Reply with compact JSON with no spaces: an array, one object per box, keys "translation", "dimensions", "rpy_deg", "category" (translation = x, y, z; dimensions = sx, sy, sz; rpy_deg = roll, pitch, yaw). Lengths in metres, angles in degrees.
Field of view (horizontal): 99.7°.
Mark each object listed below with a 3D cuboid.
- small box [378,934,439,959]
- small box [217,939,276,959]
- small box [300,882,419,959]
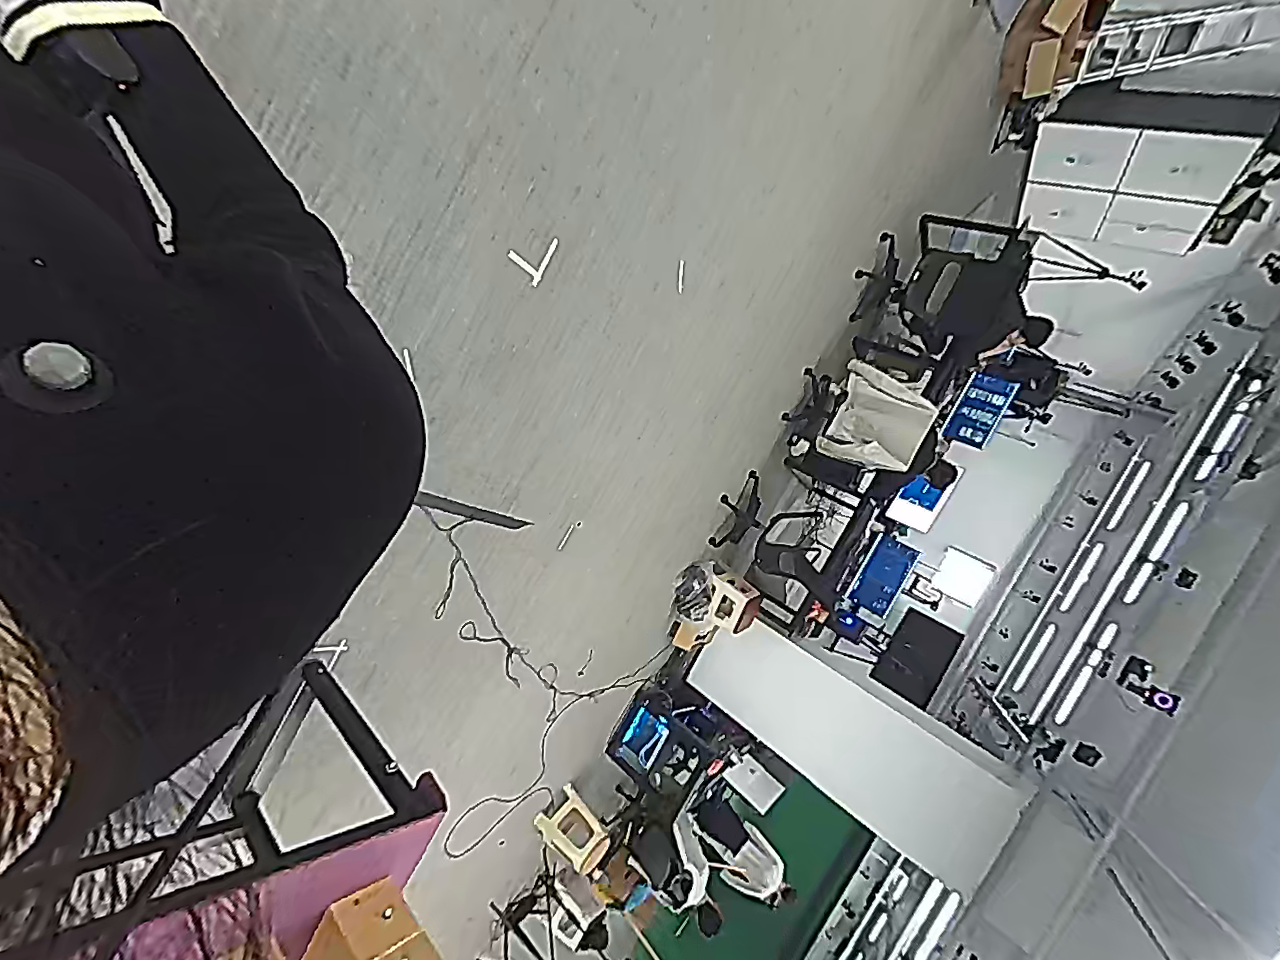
[{"translation":[-0.555,1.196,1.217],"dimensions":[0.179,0.176,0.168],"rpy_deg":[16,102,-58],"category":"small box"},{"translation":[-0.813,1.056,1.043],"dimensions":[0.179,0.176,0.168],"rpy_deg":[23,96,-58],"category":"small box"},{"translation":[-0.675,1.118,1.296],"dimensions":[0.168,0.176,0.179],"rpy_deg":[20,99,-59],"category":"small box"}]
